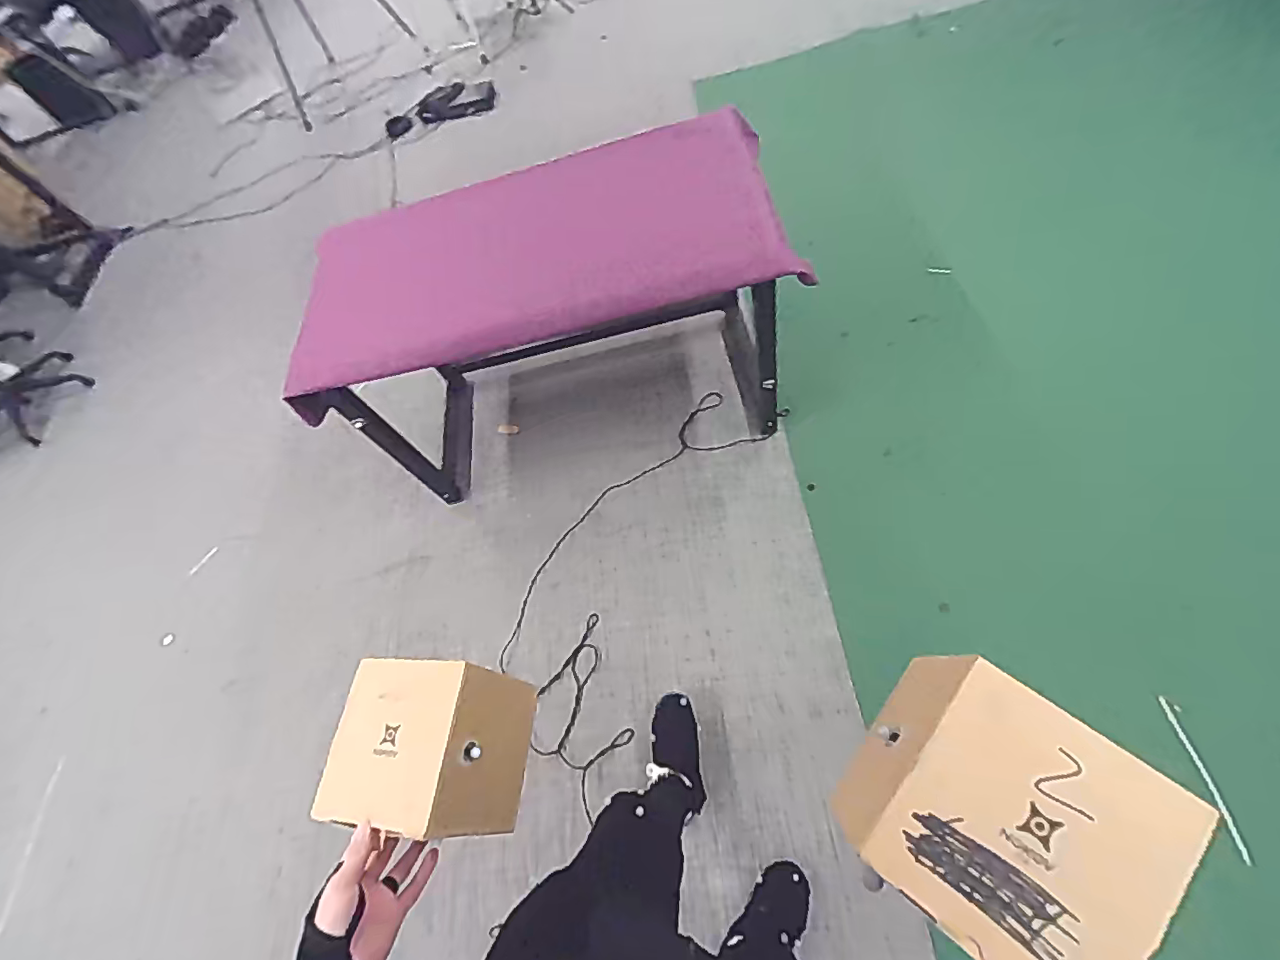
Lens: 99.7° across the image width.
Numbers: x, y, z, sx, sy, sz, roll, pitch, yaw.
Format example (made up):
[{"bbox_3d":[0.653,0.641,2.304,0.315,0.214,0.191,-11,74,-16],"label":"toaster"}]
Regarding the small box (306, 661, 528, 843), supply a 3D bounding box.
[{"bbox_3d":[-0.260,0.333,0.674,0.168,0.176,0.179,-6,59,21],"label":"small box"}]
